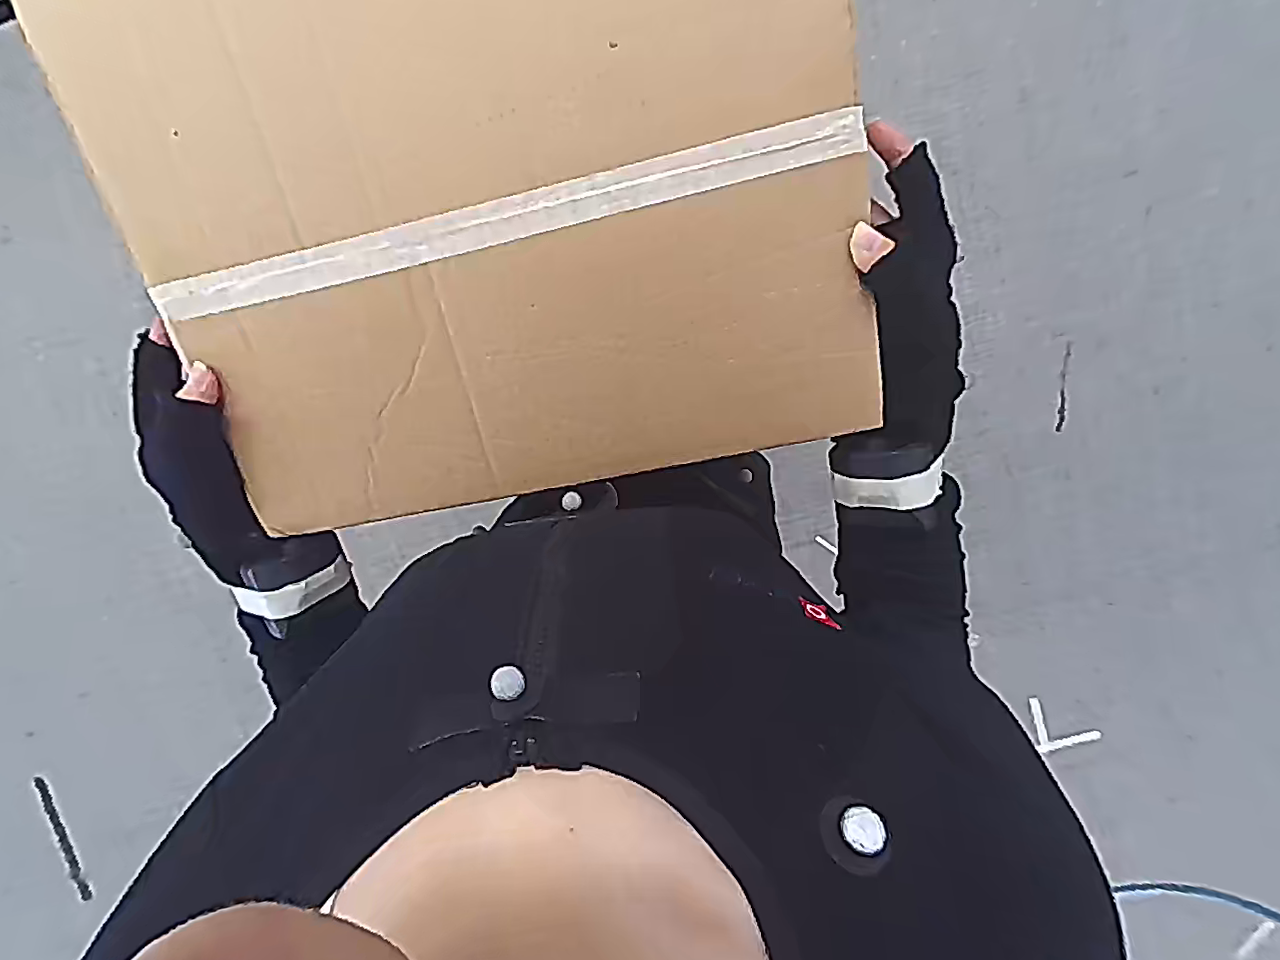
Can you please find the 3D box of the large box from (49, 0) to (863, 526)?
[{"bbox_3d":[-0.079,-0.195,0.447,0.408,0.320,0.320,-10,108,7],"label":"large box"}]
